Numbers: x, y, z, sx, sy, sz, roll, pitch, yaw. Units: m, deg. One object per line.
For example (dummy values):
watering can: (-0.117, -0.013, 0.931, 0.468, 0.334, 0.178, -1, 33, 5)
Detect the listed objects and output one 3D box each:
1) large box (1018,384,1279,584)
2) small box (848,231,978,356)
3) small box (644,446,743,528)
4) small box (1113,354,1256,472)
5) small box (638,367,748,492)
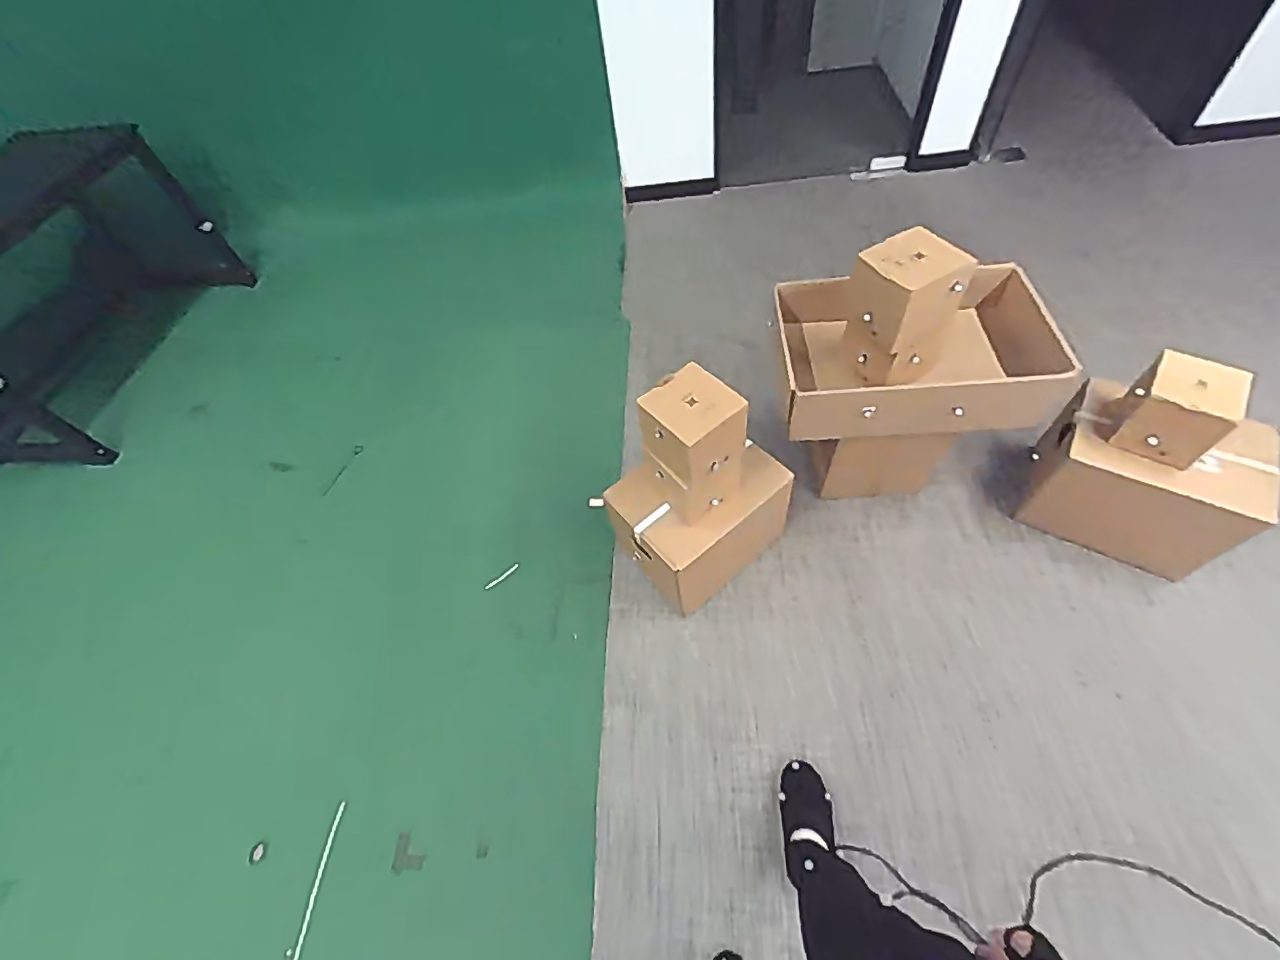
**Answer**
large box: (1.311, 0.008, 1.429, 0.408, 0.320, 0.320, 25, 63, 22)
small box: (0.590, -0.410, 1.196, 0.179, 0.176, 0.168, -27, 55, -9)
small box: (0.130, -0.015, 1.320, 0.168, 0.176, 0.179, -33, 57, -14)
small box: (1.250, -0.154, 1.251, 0.168, 0.176, 0.179, 29, 63, 25)
small box: (0.117, -0.107, 1.186, 0.168, 0.176, 0.179, -36, 58, -15)
